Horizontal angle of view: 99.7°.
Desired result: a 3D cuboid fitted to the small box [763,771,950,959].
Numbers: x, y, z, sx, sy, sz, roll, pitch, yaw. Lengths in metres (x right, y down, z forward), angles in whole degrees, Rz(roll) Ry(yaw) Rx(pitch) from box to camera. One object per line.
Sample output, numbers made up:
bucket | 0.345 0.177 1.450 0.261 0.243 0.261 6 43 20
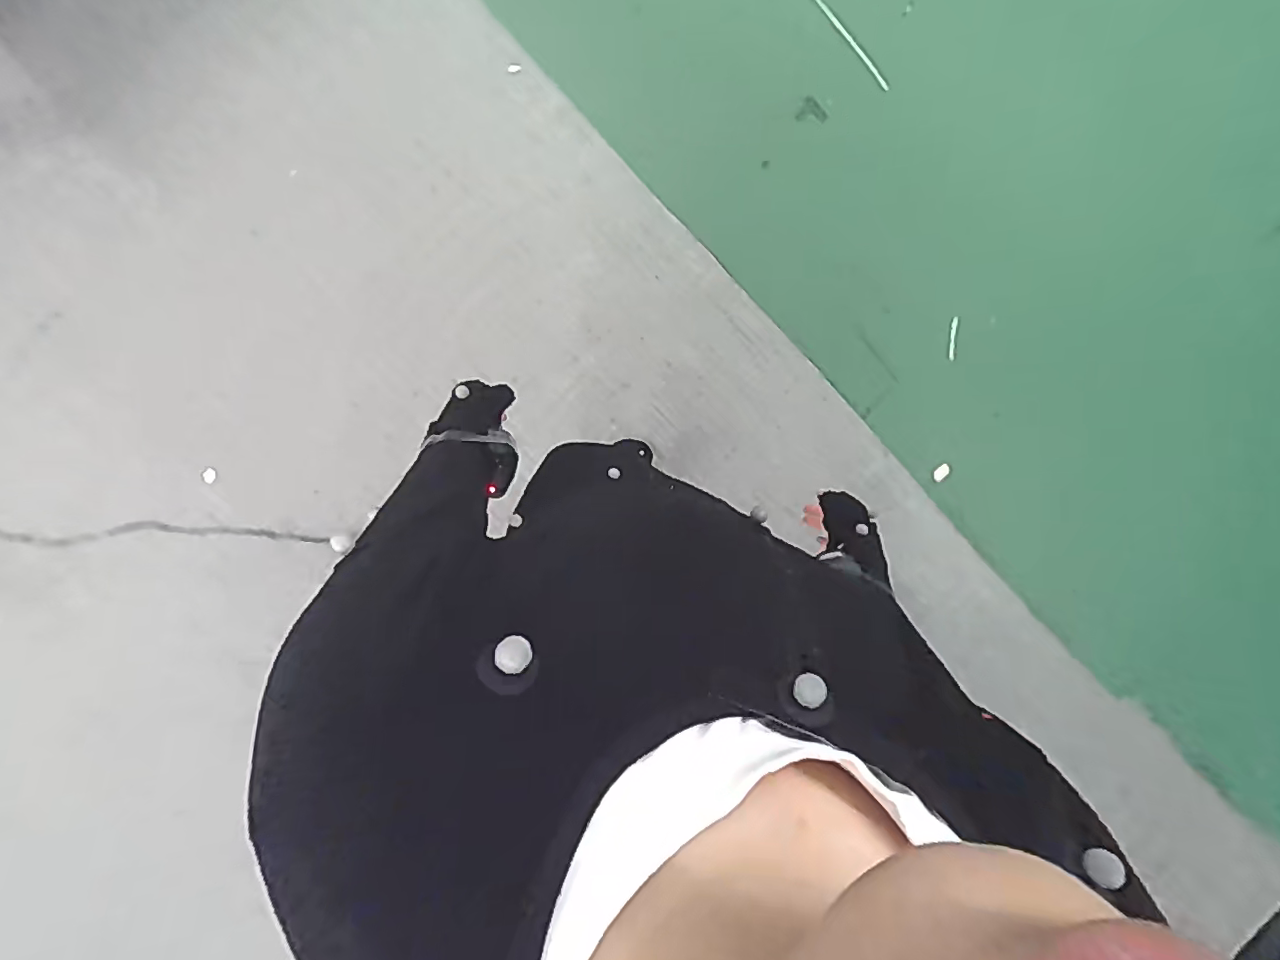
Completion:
small box | 0.308 0.595 0.817 0.168 0.176 0.179 42 88 -3
